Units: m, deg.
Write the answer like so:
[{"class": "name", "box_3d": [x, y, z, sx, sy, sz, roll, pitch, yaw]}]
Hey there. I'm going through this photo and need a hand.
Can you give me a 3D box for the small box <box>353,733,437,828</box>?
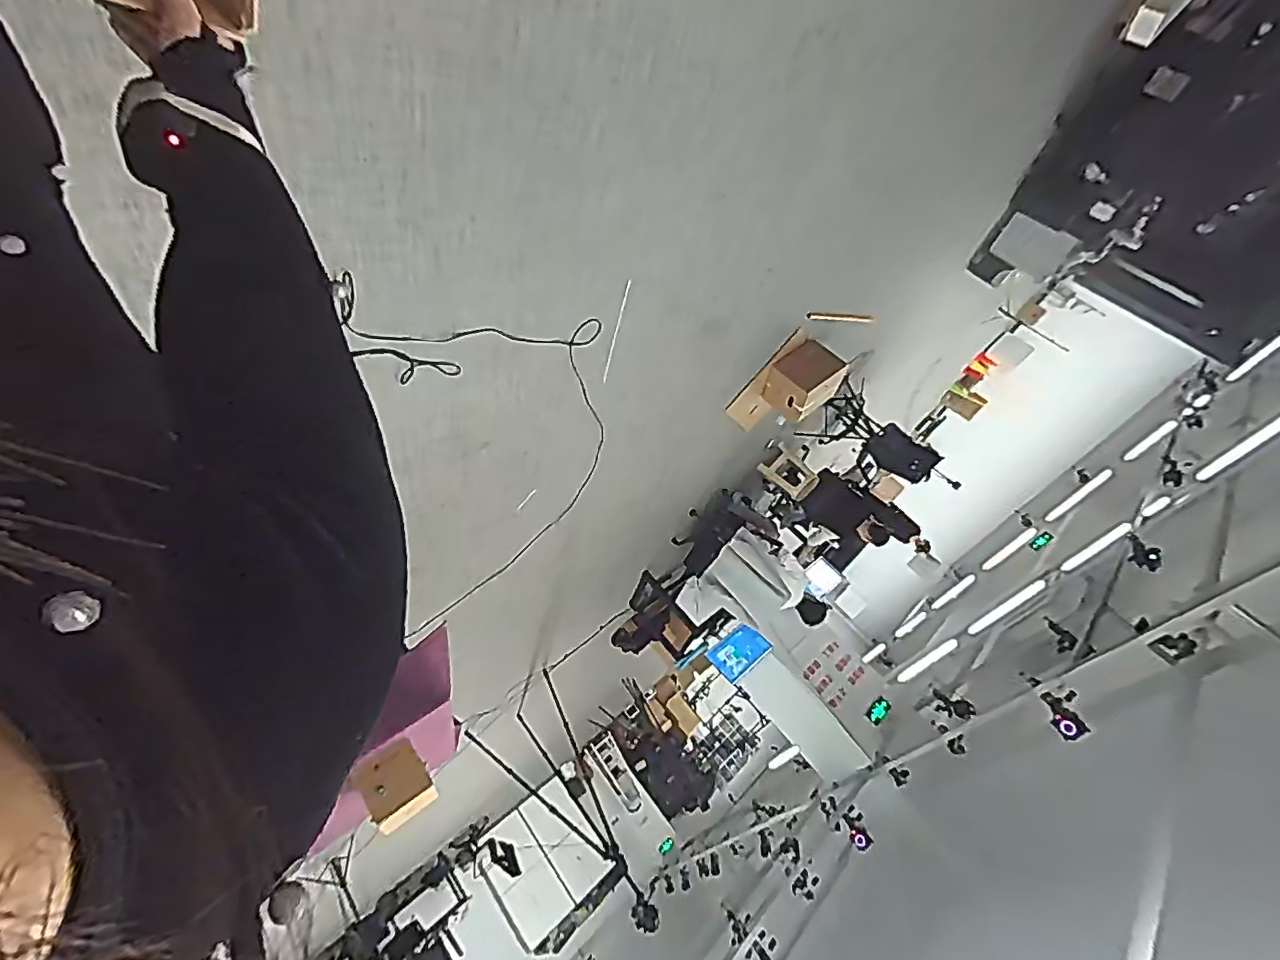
[{"class": "small box", "box_3d": [-0.726, 0.887, 1.605, 0.168, 0.176, 0.179, -28, 154, -33]}]
